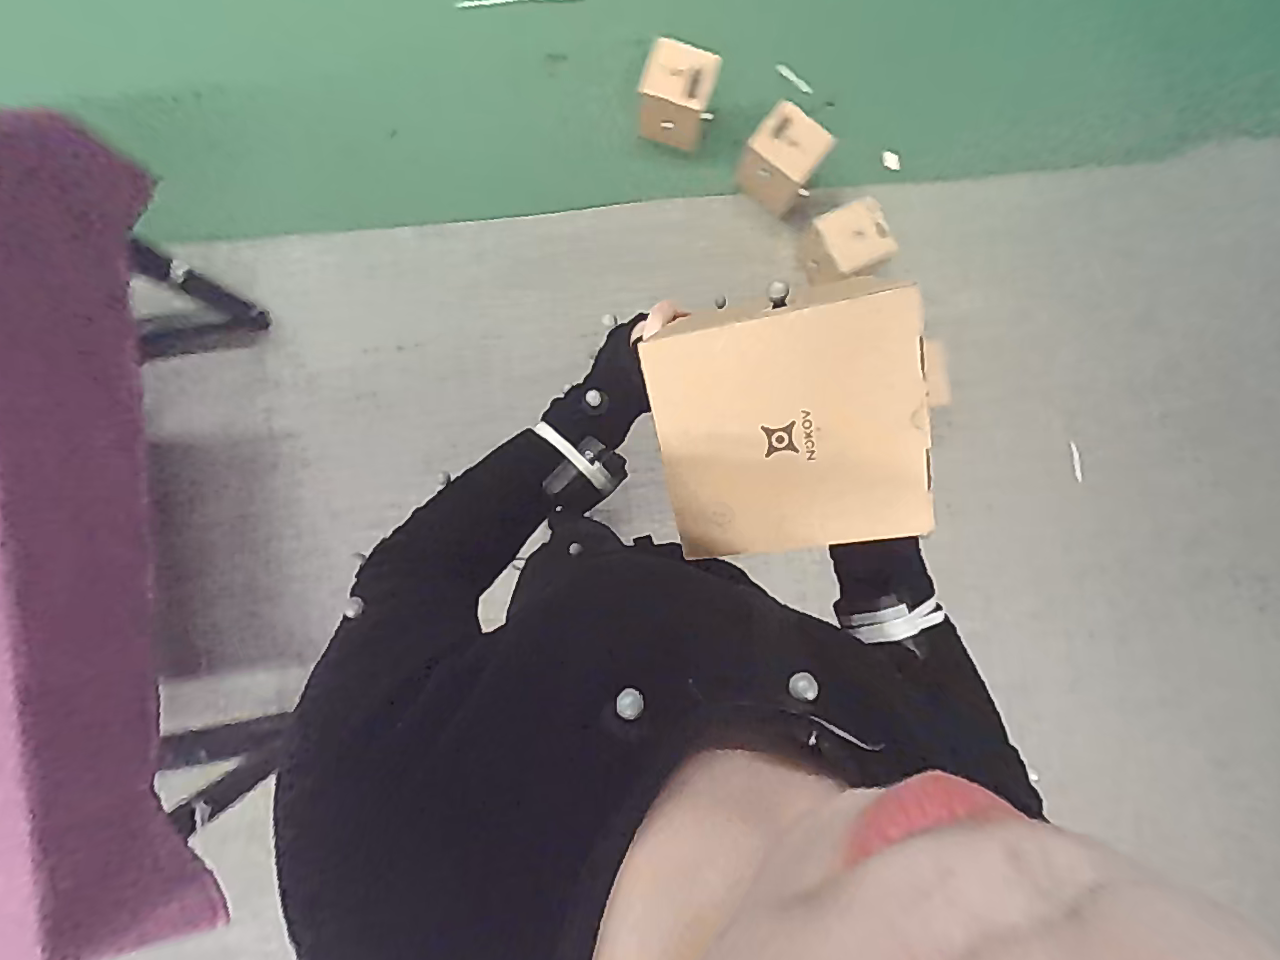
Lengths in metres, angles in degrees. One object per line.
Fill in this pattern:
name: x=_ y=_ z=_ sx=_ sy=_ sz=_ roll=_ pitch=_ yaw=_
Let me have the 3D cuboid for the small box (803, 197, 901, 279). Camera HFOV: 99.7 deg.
small box: x=0.571 y=-0.633 z=1.492 sx=0.179 sy=0.176 sz=0.168 roll=-24 pitch=88 yaw=-3

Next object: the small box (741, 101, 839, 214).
small box: x=0.407 y=-0.884 z=1.501 sx=0.179 sy=0.176 sz=0.168 roll=39 pitch=86 yaw=0

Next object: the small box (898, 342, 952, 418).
small box: x=0.711 y=-0.261 z=1.473 sx=0.168 sy=0.176 sz=0.179 roll=-8 pitch=87 yaw=-3

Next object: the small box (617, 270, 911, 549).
small box: x=0.098 y=-0.063 z=0.437 sx=0.179 sy=0.176 sz=0.168 roll=-10 pitch=109 yaw=13
